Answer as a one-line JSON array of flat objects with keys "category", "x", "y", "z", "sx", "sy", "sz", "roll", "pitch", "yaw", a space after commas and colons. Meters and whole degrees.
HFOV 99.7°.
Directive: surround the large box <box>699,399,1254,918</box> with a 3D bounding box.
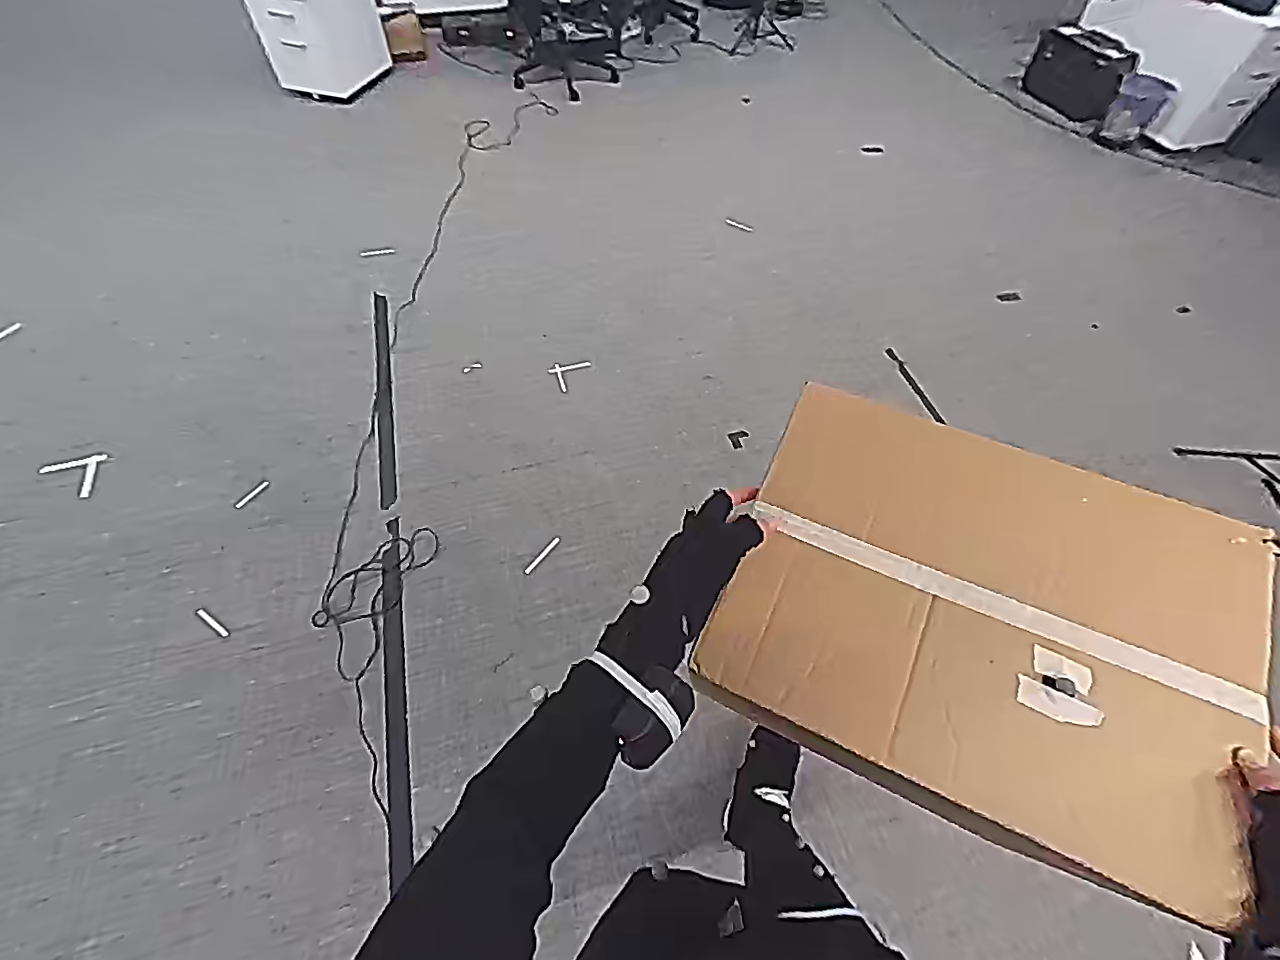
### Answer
[{"category": "large box", "x": 0.306, "y": 0.169, "z": 0.607, "sx": 0.408, "sy": 0.320, "sz": 0.320, "roll": 22, "pitch": 71, "yaw": 15}]
